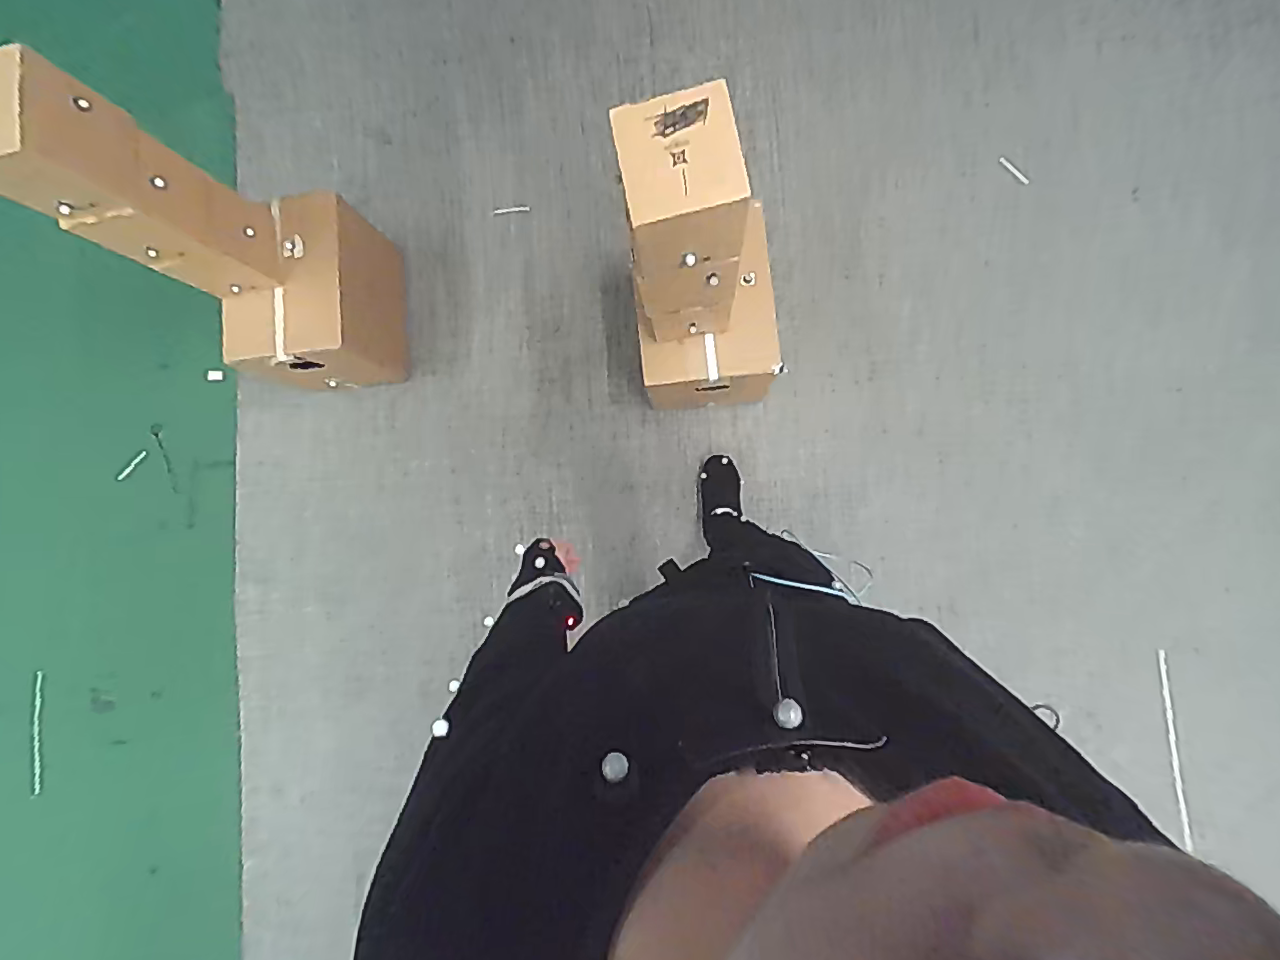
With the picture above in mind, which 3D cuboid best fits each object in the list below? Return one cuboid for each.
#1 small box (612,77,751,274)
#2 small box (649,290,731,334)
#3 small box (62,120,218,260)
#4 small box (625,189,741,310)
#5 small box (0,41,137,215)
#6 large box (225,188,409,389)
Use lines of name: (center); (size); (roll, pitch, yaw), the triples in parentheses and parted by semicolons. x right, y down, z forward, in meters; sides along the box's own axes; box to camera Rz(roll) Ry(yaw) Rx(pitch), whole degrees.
small box: (0.062, -0.441, 0.811); (0.168, 0.176, 0.179); (-12, 86, 6)
small box: (0.097, -0.419, 1.138); (0.168, 0.176, 0.179); (-9, 86, 6)
small box: (-0.991, -0.570, 1.083); (0.168, 0.176, 0.179); (-6, 87, 8)
small box: (0.078, -0.425, 0.974); (0.179, 0.176, 0.168); (-9, 85, 6)
small box: (-1.011, -0.586, 0.922); (0.168, 0.176, 0.179); (-4, 87, 9)
large box: (-0.861, -0.495, 1.475); (0.320, 0.320, 0.408); (-5, 85, 6)
